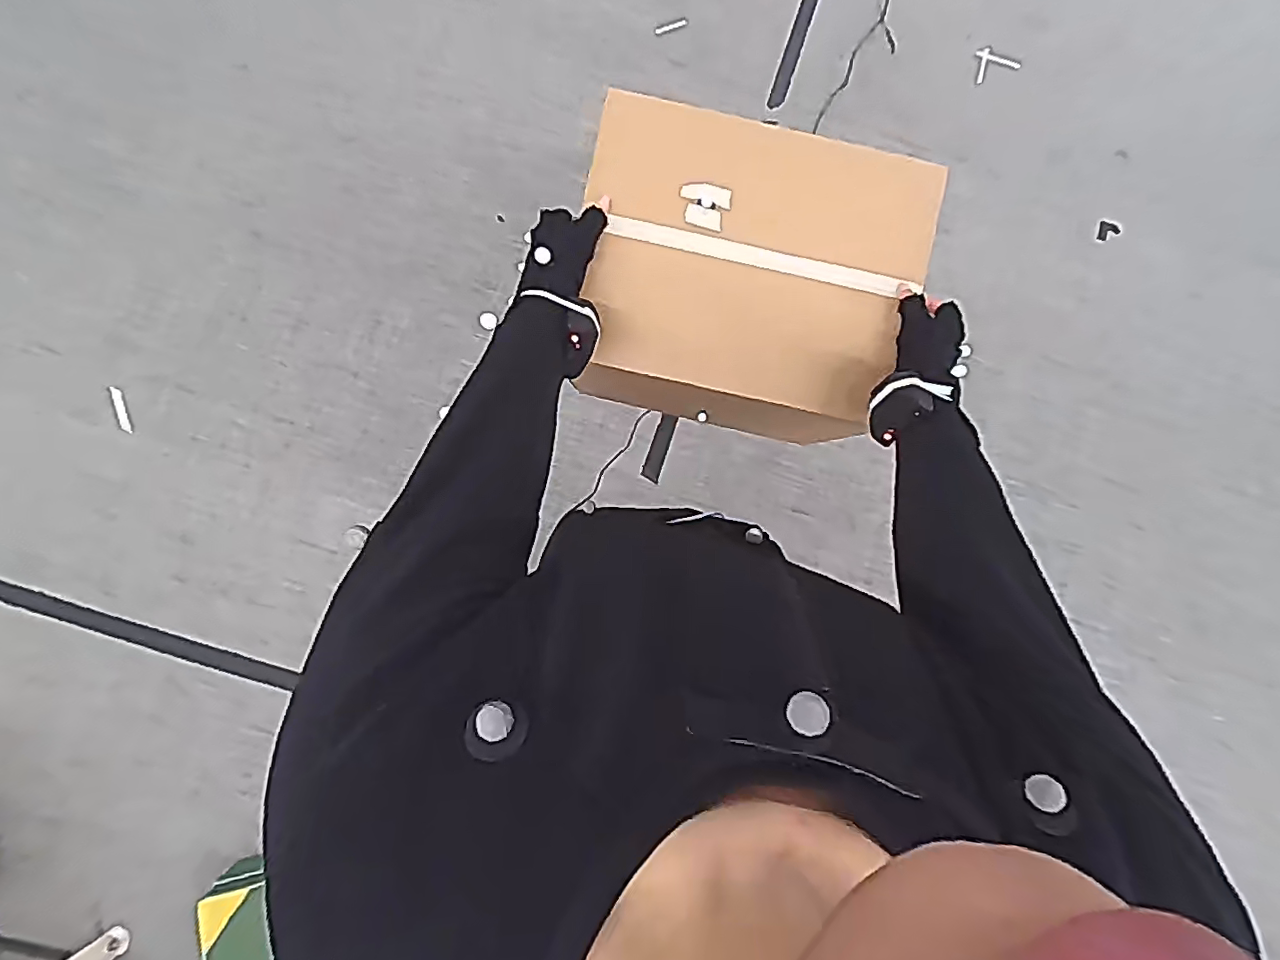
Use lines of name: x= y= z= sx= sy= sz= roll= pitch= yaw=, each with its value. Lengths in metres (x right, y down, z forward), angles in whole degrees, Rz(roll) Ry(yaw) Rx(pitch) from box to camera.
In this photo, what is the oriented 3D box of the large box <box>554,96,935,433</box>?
large box: x=0.123 y=-0.262 z=0.781 sx=0.408 sy=0.320 sz=0.320 roll=13 pitch=90 yaw=-1
